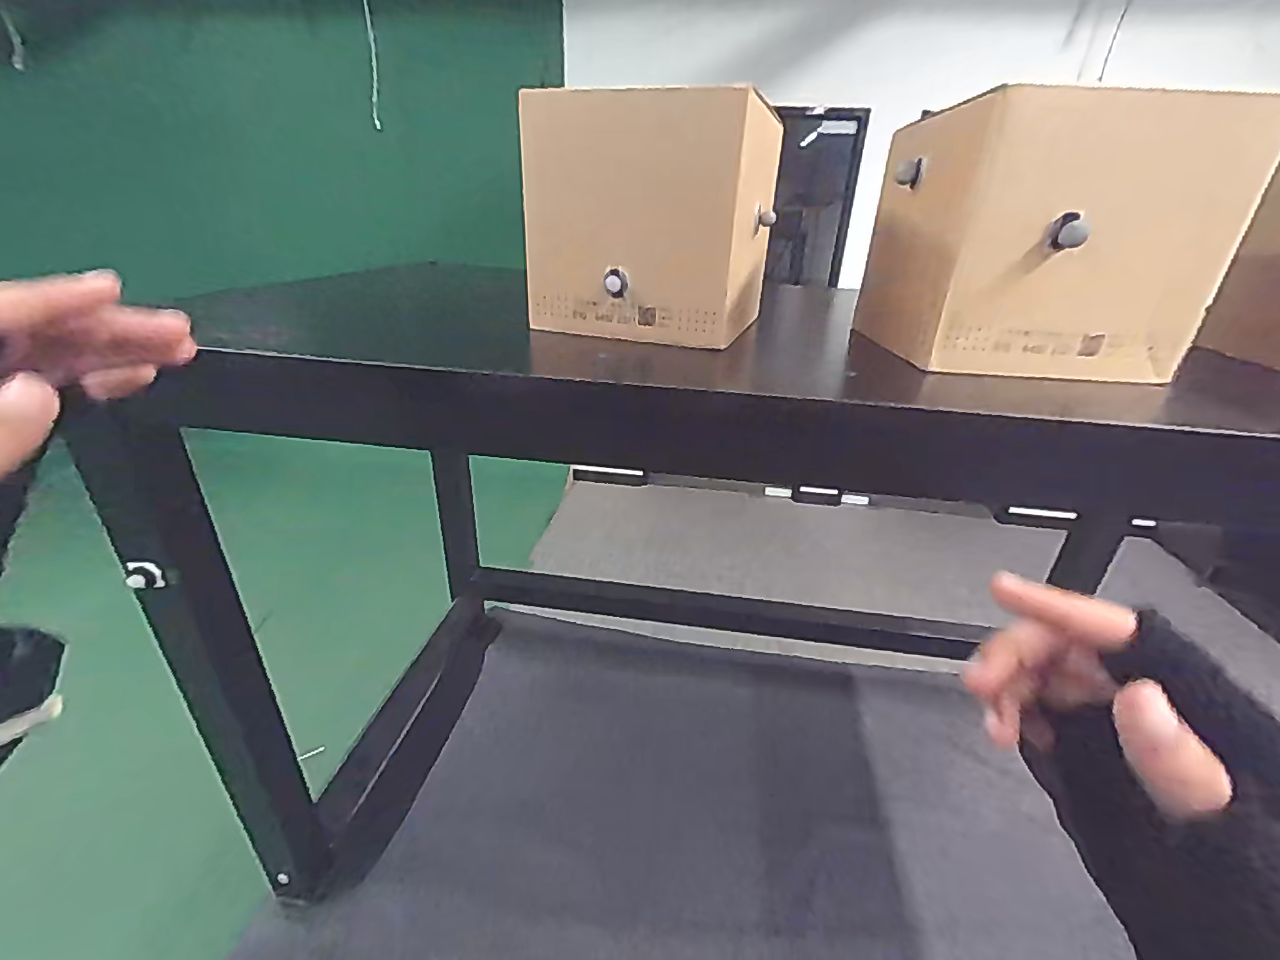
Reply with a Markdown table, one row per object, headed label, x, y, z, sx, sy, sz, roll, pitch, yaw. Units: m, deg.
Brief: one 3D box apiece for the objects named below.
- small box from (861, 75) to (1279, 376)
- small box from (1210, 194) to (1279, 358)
| label | x | y | z | sx | sy | sz | roll | pitch | yaw |
| --- | --- | --- | --- | --- | --- | --- | --- | --- | --- |
| small box | 0.287 | -0.181 | 0.405 | 0.168 | 0.176 | 0.179 | 3 | 25 | 2 |
| small box | 0.578 | -0.158 | 0.377 | 0.168 | 0.176 | 0.179 | 7 | 27 | 12 |
